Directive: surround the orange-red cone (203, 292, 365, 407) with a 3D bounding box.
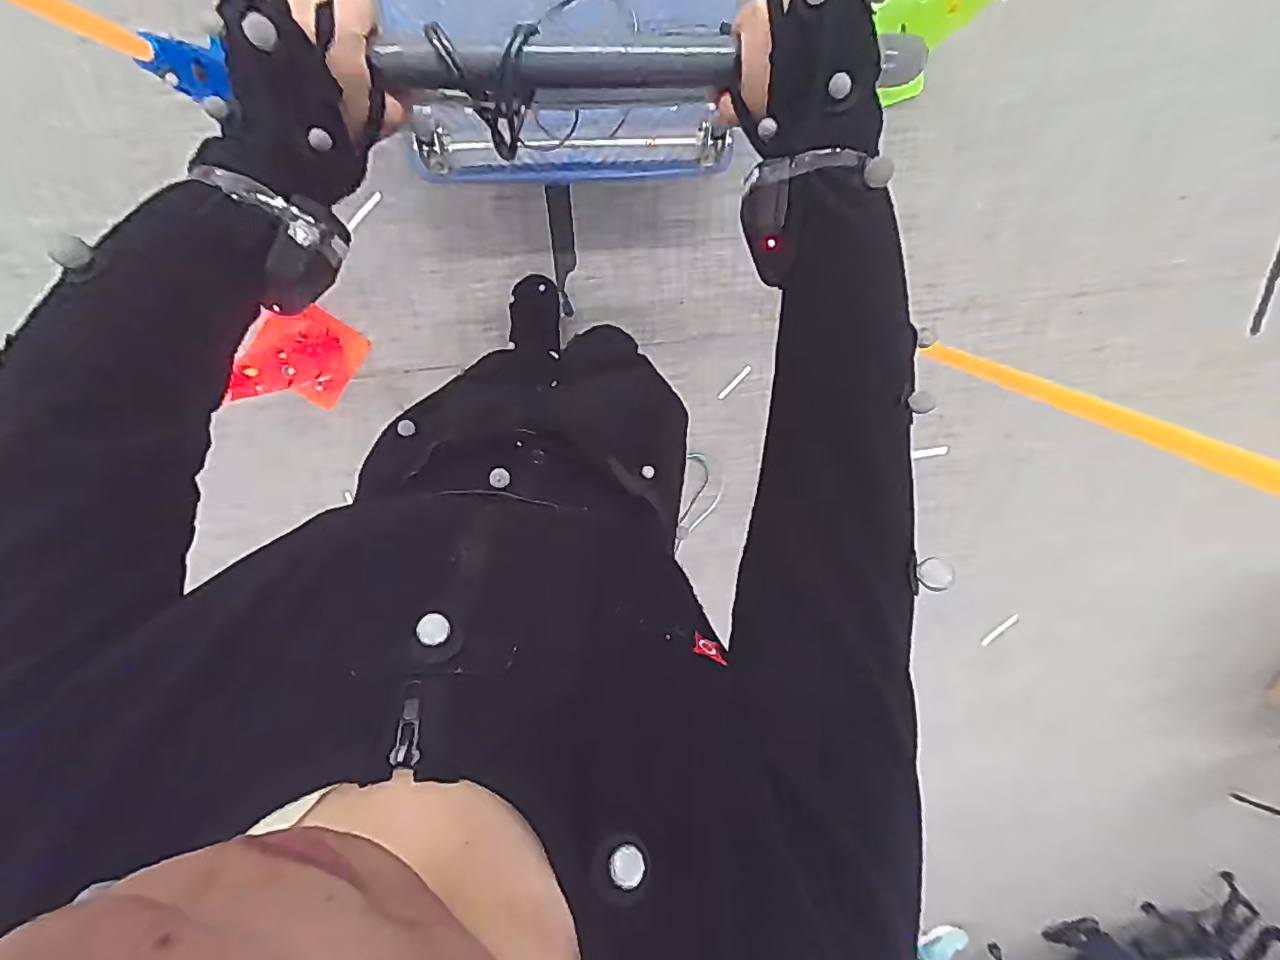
[{"bbox_3d":[-0.709,-0.213,1.026,0.198,0.360,0.199,37,103,-21],"label":"orange-red cone"}]

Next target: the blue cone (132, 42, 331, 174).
[{"bbox_3d":[-0.665,-0.624,0.865,0.193,0.380,0.192,7,113,-11],"label":"blue cone"}]

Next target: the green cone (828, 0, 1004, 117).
[{"bbox_3d":[0.502,-0.798,0.932,0.200,0.368,0.202,-19,116,1],"label":"green cone"}]
